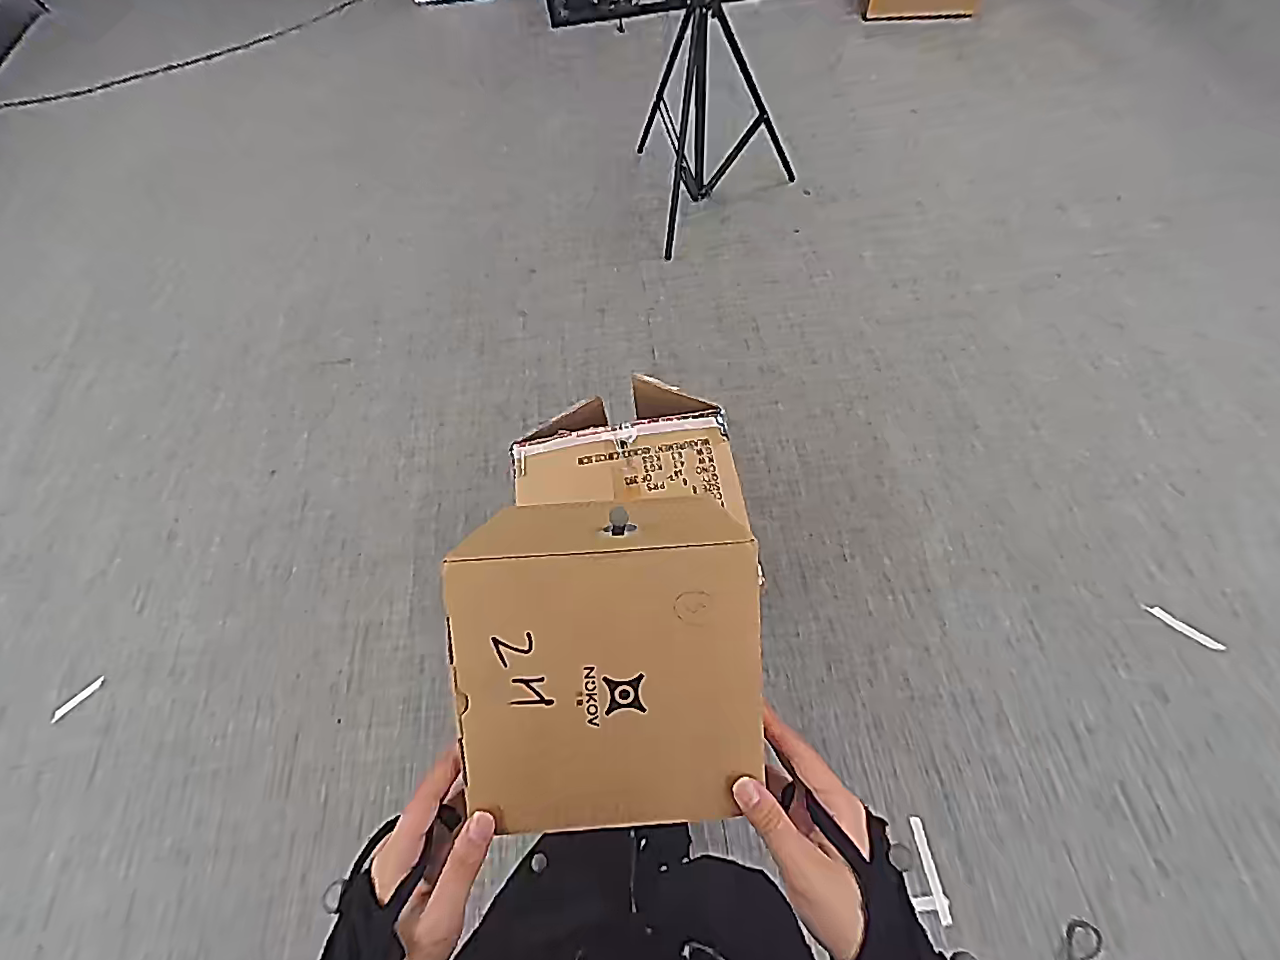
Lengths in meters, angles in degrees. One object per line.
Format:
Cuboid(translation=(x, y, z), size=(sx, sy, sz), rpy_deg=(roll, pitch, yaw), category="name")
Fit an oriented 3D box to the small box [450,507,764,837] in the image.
Cuboid(translation=(-0.019, 0.115, 0.390), size=(0.179, 0.176, 0.168), rpy_deg=(-3, 96, -1), category="small box")
